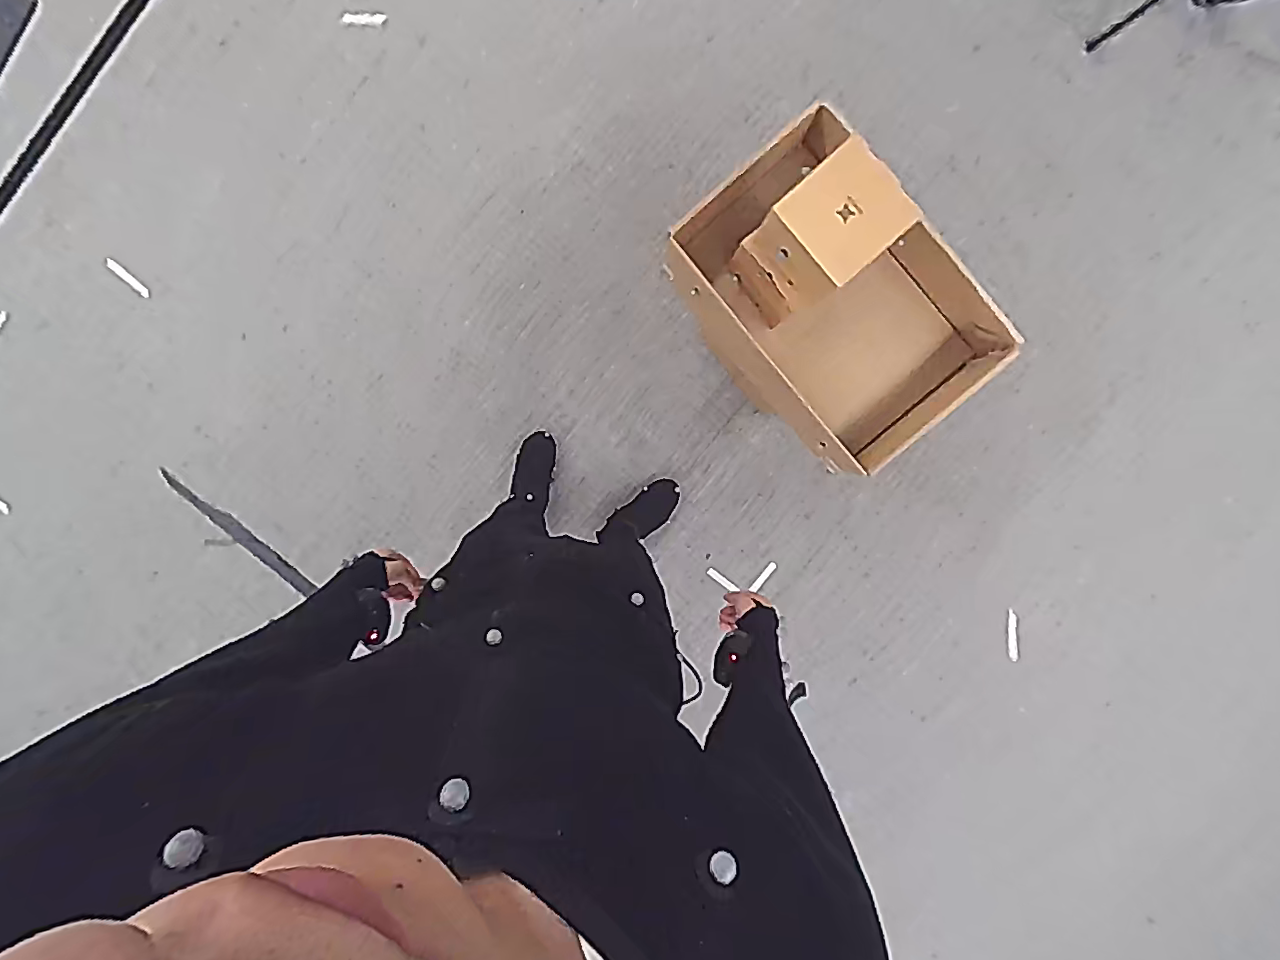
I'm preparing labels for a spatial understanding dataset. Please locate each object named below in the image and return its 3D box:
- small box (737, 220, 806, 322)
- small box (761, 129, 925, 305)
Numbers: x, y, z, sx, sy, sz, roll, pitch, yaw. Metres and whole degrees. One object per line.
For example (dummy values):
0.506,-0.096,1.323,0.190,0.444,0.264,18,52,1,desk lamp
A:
0.309,-0.439,1.072,0.179,0.176,0.168,-37,94,2,small box
0.324,-0.424,0.910,0.179,0.176,0.168,-41,94,3,small box
